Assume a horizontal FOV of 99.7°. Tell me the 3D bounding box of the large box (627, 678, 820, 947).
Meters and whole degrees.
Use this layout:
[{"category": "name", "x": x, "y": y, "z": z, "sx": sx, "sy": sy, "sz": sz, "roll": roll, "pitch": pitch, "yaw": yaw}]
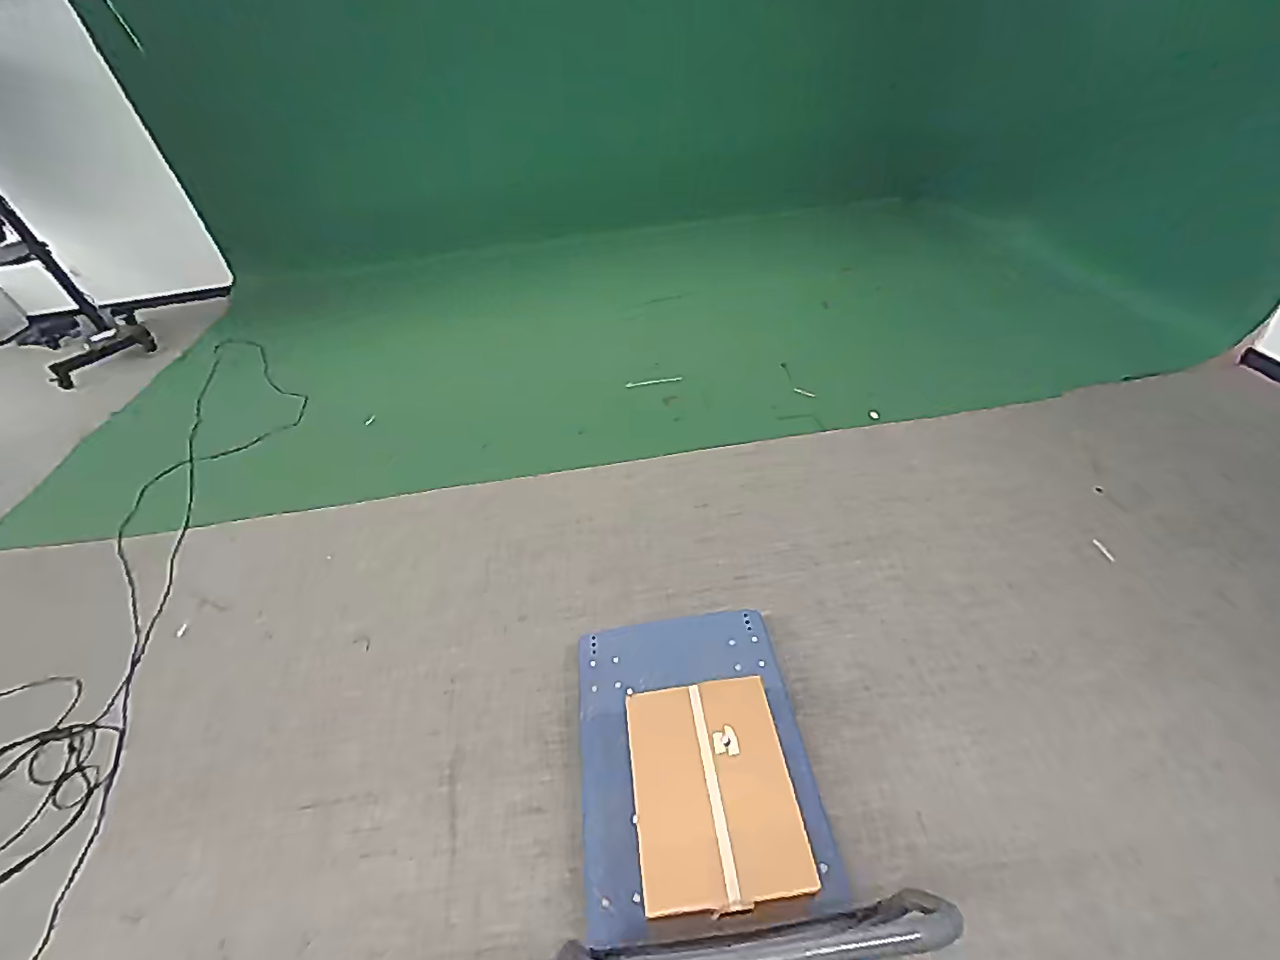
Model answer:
[{"category": "large box", "x": 0.159, "y": 0.715, "z": 1.182, "sx": 0.320, "sy": 0.320, "sz": 0.408, "roll": -8, "pitch": 41, "yaw": -1}]
